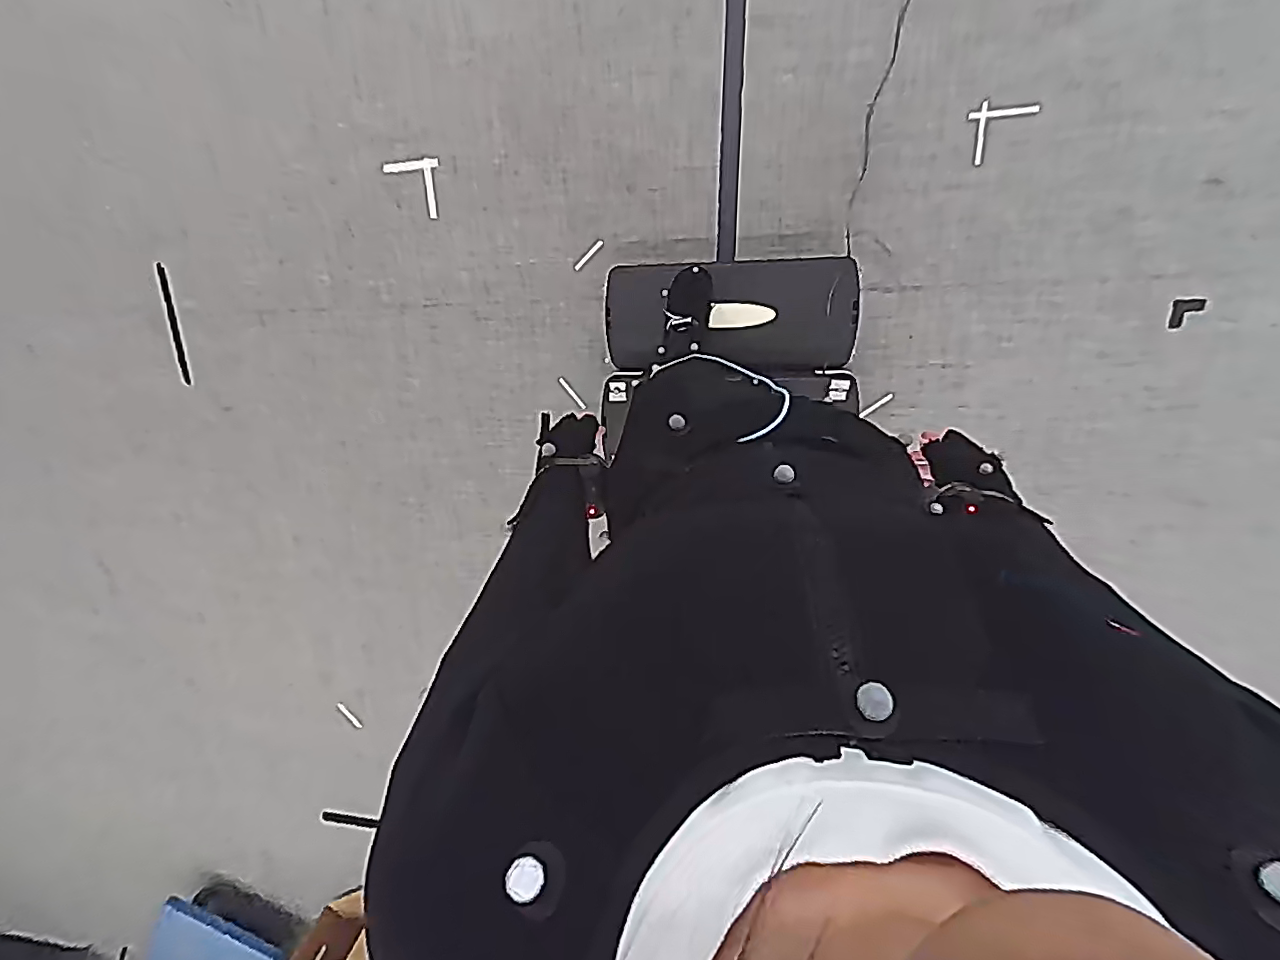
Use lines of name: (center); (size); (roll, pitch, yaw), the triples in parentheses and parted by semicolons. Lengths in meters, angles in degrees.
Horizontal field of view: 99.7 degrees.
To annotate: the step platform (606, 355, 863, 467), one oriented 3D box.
step platform: (0.247, -0.189, 1.489); (0.684, 0.204, 0.286); (1, 104, 11)
